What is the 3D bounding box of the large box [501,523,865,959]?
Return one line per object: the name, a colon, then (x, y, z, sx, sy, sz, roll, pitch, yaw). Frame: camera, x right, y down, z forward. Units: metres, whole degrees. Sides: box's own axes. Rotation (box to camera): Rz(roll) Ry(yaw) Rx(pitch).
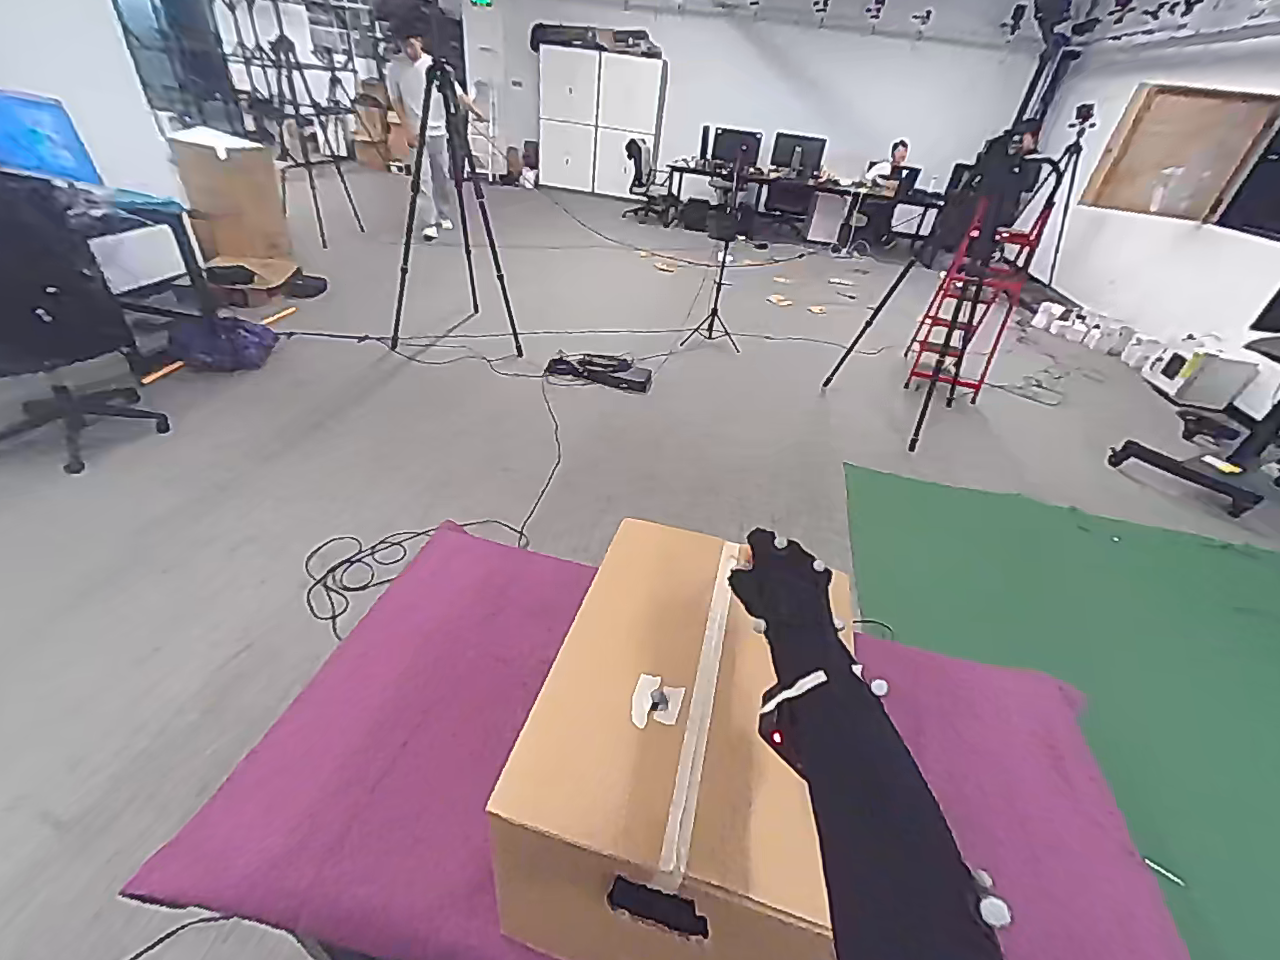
large box: (0.056, 0.324, 0.678, 0.320, 0.320, 0.408, 14, 36, 9)
